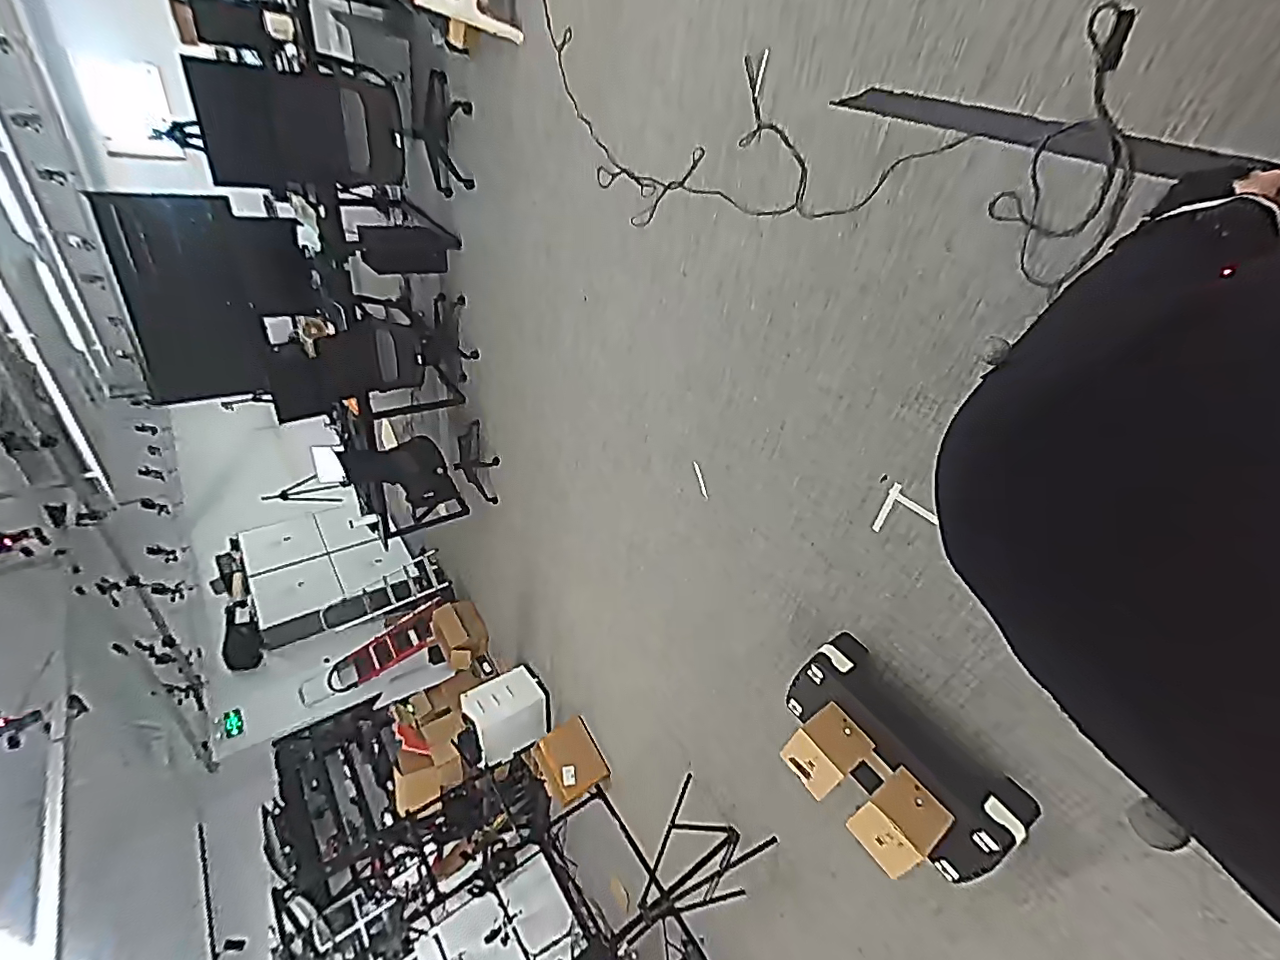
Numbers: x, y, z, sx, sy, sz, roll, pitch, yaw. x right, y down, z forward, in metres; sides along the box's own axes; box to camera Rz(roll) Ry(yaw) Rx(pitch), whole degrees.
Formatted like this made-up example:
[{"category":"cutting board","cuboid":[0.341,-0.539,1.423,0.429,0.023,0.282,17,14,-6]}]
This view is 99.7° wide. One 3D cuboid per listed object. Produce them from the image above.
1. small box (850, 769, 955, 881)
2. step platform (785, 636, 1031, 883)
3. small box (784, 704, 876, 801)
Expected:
[{"category":"small box","cuboid":[0.717,0.937,1.475,0.168,0.176,0.179,44,137,34]},{"category":"step platform","cuboid":[0.773,0.831,1.661,0.684,0.204,0.286,43,137,35]},{"category":"small box","cuboid":[0.574,0.814,1.626,0.168,0.176,0.179,45,137,33]}]
